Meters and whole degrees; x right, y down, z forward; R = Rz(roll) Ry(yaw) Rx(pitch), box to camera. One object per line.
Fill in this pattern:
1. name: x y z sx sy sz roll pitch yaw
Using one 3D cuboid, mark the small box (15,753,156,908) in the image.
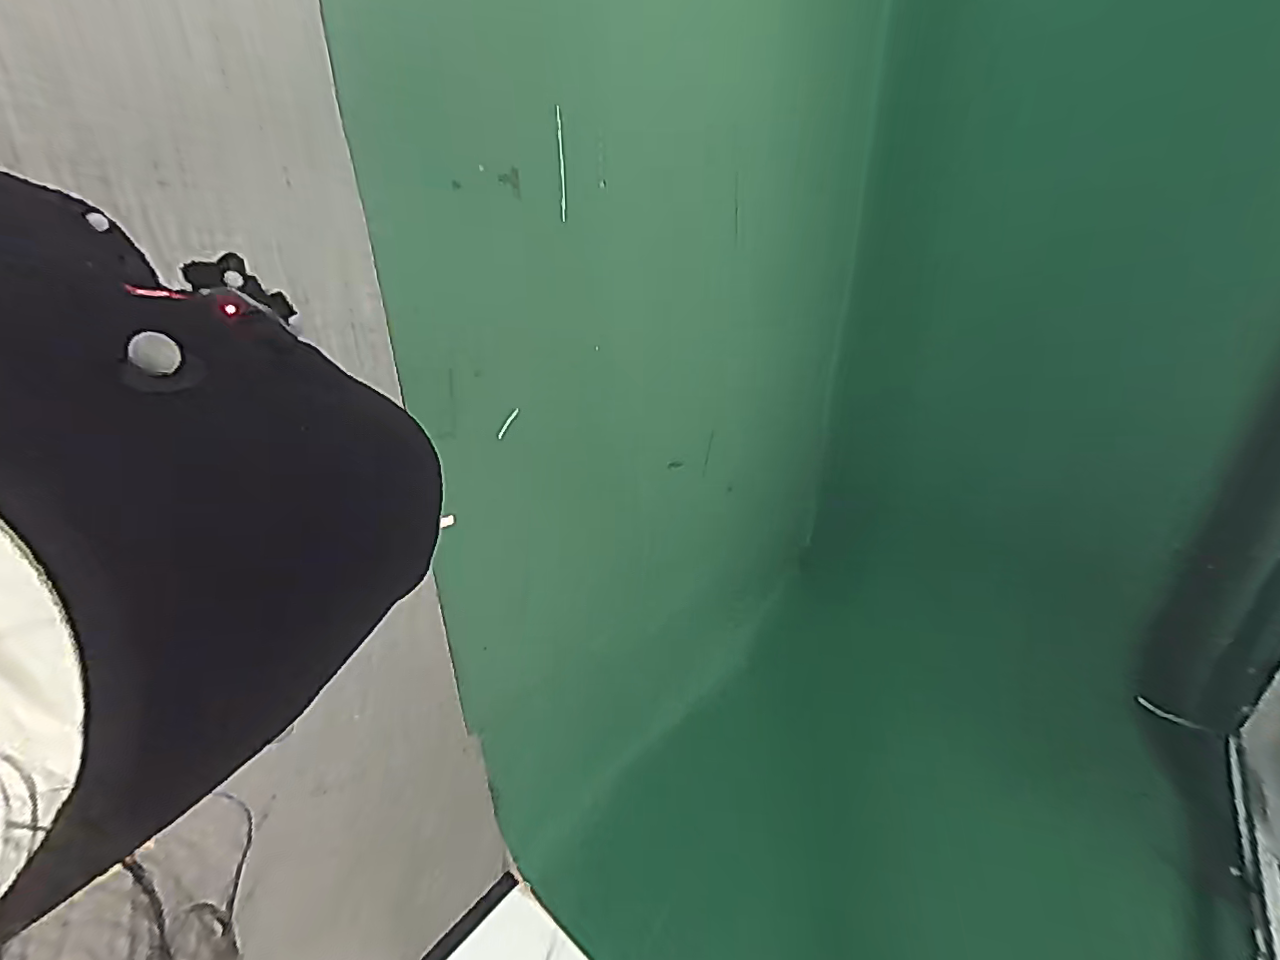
1. small box: -1.177 0.732 1.149 0.179 0.176 0.168 -20 123 -46
